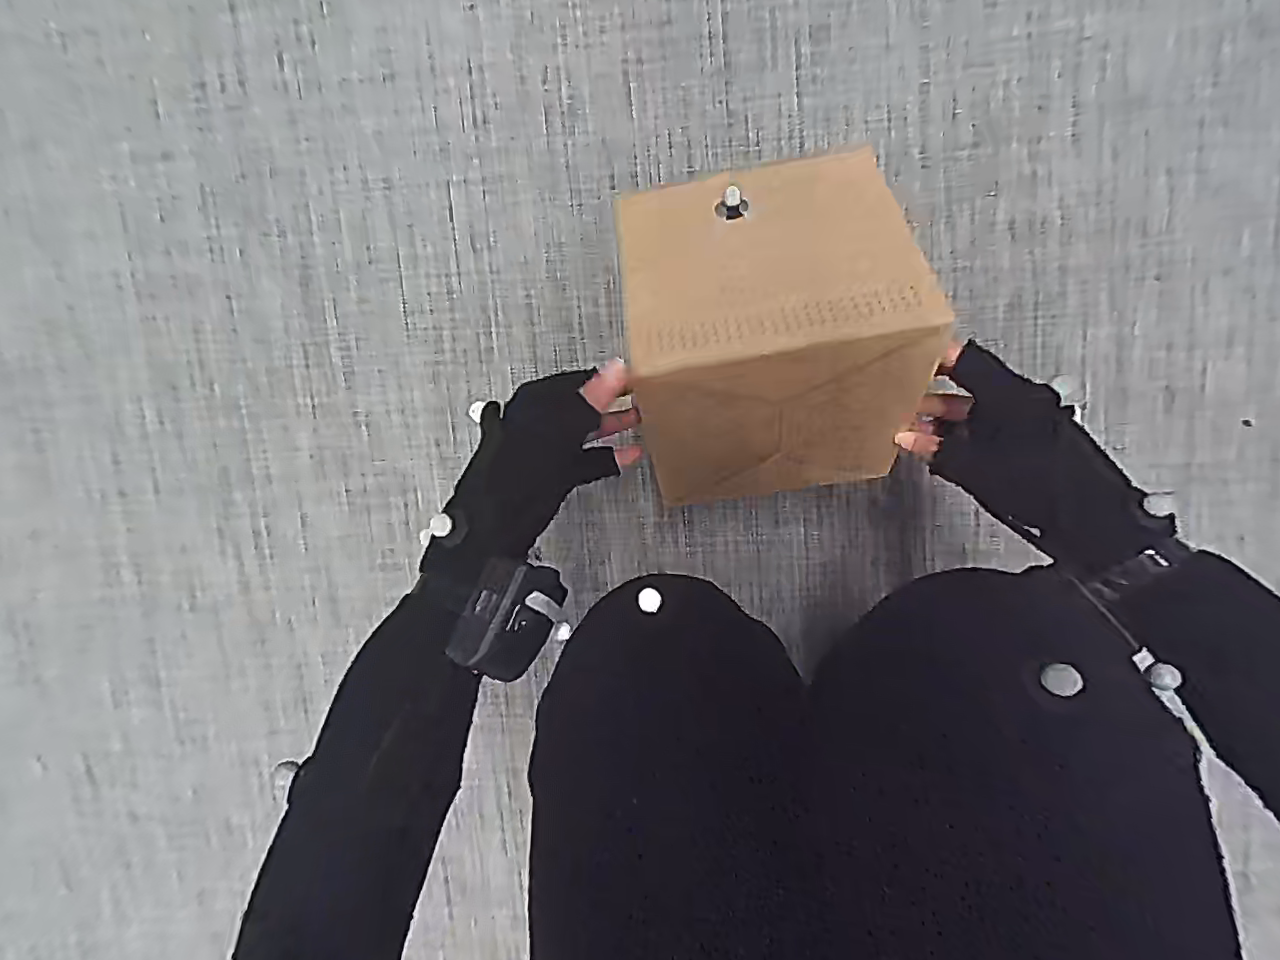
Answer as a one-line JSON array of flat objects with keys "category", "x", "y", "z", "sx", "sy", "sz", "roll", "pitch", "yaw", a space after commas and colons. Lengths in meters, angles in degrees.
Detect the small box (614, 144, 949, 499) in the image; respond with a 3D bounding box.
[{"category": "small box", "x": 0.088, "y": -0.098, "z": 0.395, "sx": 0.179, "sy": 0.168, "sz": 0.176, "roll": -9, "pitch": 63, "yaw": 8}]
